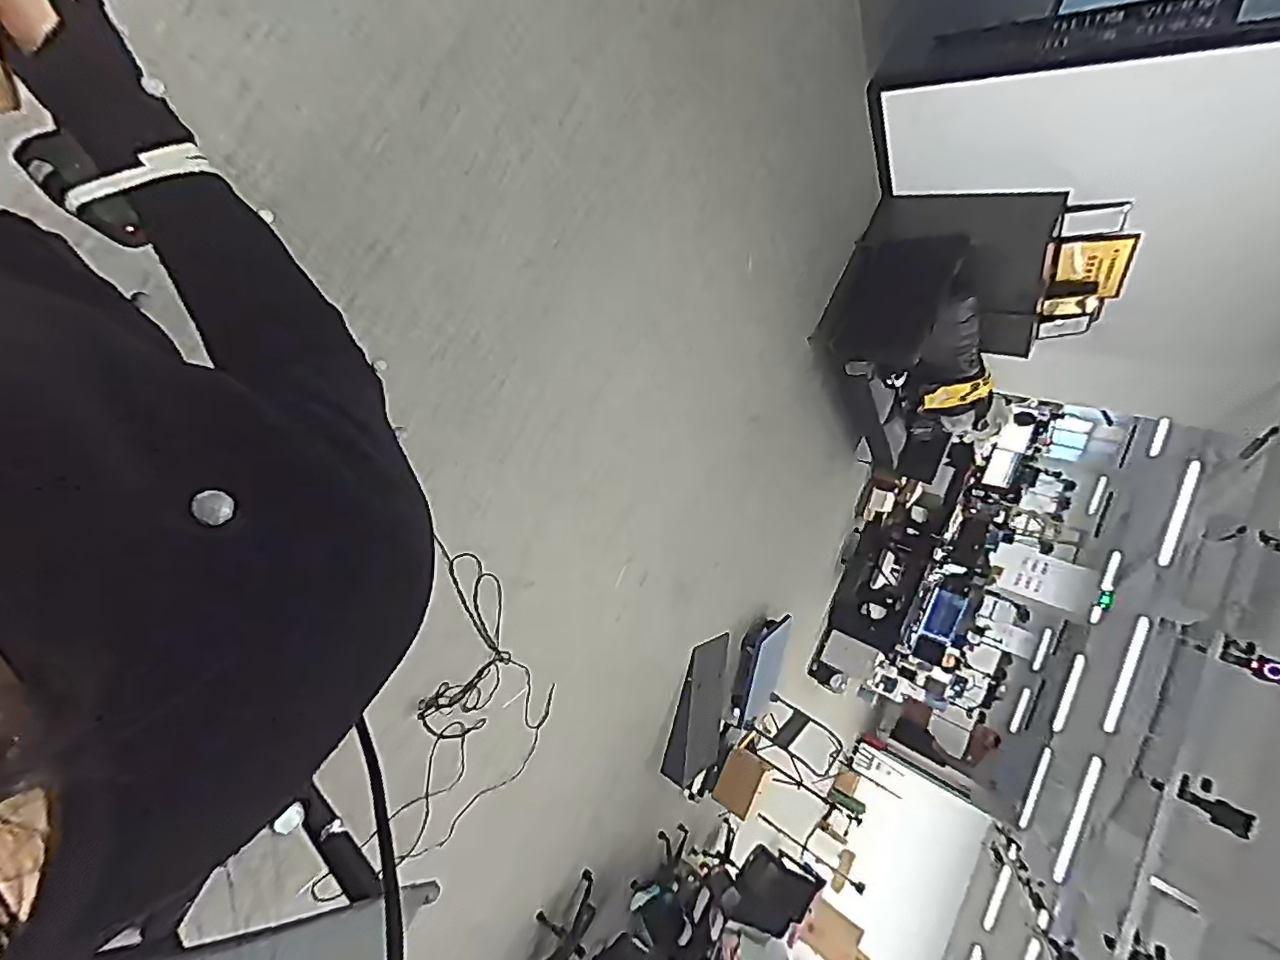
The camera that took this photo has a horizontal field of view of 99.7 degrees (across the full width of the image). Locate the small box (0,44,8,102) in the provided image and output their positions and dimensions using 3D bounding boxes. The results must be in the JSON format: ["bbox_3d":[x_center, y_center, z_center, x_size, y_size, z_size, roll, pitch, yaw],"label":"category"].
[{"bbox_3d":[-0.420,-0.286,0.231,0.168,0.176,0.179,-11,124,-41],"label":"small box"}]
